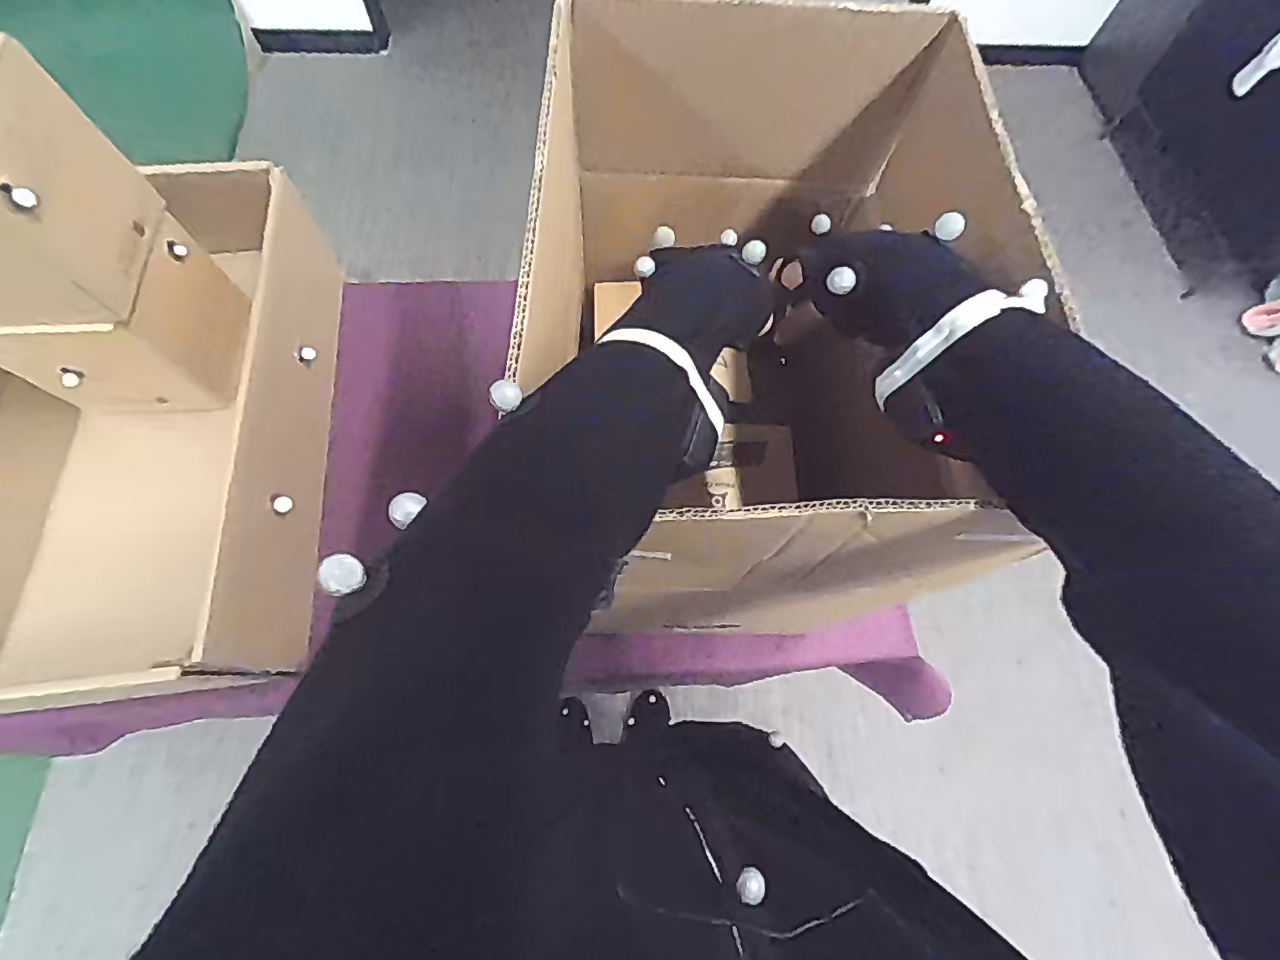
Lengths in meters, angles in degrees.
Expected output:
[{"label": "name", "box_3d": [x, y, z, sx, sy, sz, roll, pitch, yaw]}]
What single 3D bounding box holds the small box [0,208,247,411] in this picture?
[{"label": "small box", "box_3d": [-0.615, -0.191, 0.646, 0.168, 0.176, 0.179, -3, 69, -3]}]
